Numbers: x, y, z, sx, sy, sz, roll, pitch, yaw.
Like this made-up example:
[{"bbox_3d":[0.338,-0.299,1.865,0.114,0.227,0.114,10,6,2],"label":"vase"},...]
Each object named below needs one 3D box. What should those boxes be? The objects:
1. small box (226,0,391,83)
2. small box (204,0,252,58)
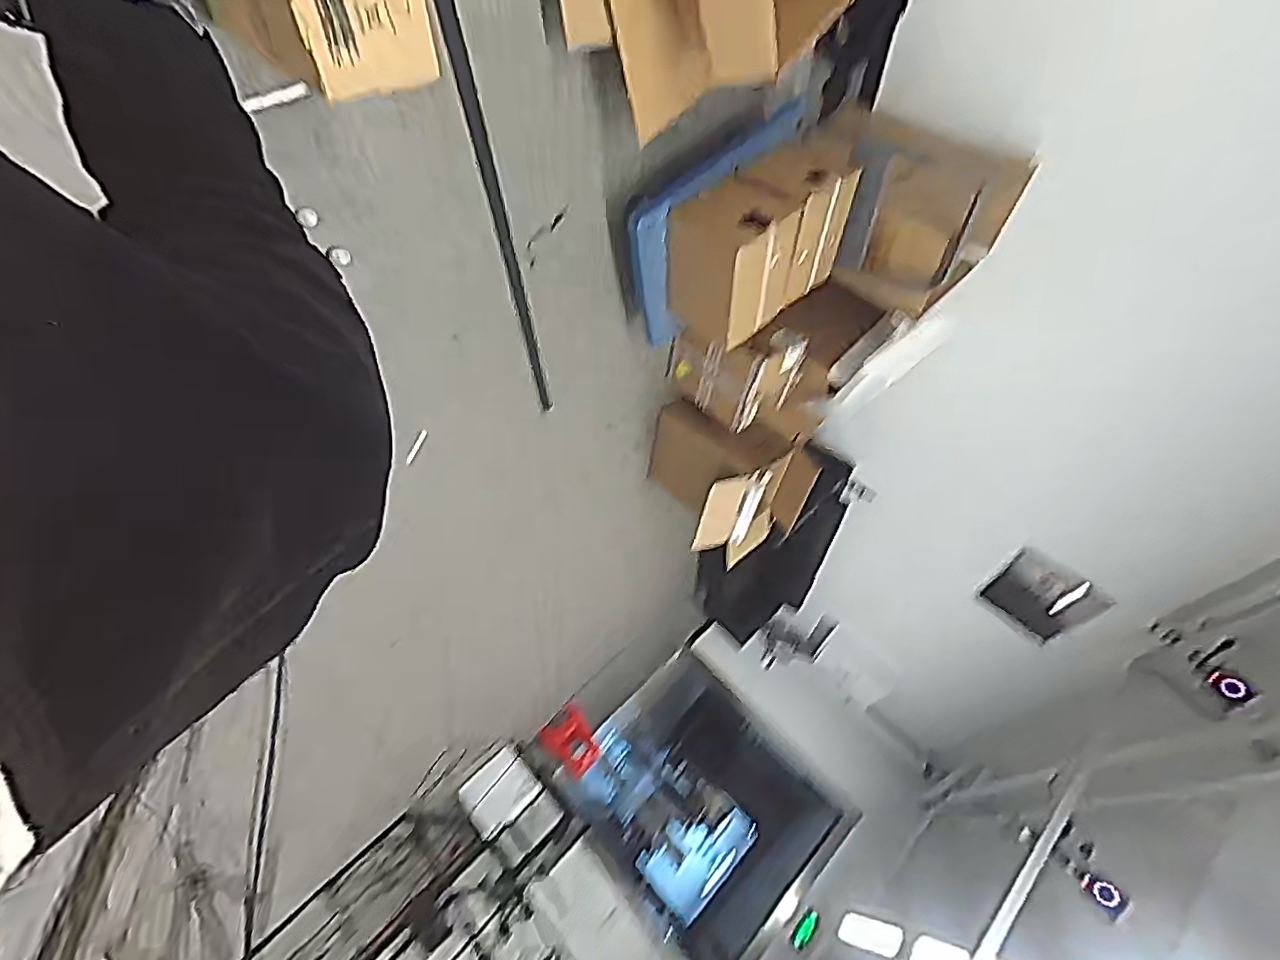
[{"bbox_3d":[-0.527,-0.741,0.830,0.179,0.176,0.168,-37,151,-26],"label":"small box"},{"bbox_3d":[-0.636,-0.842,0.902,0.168,0.176,0.179,-35,151,-27],"label":"small box"}]
